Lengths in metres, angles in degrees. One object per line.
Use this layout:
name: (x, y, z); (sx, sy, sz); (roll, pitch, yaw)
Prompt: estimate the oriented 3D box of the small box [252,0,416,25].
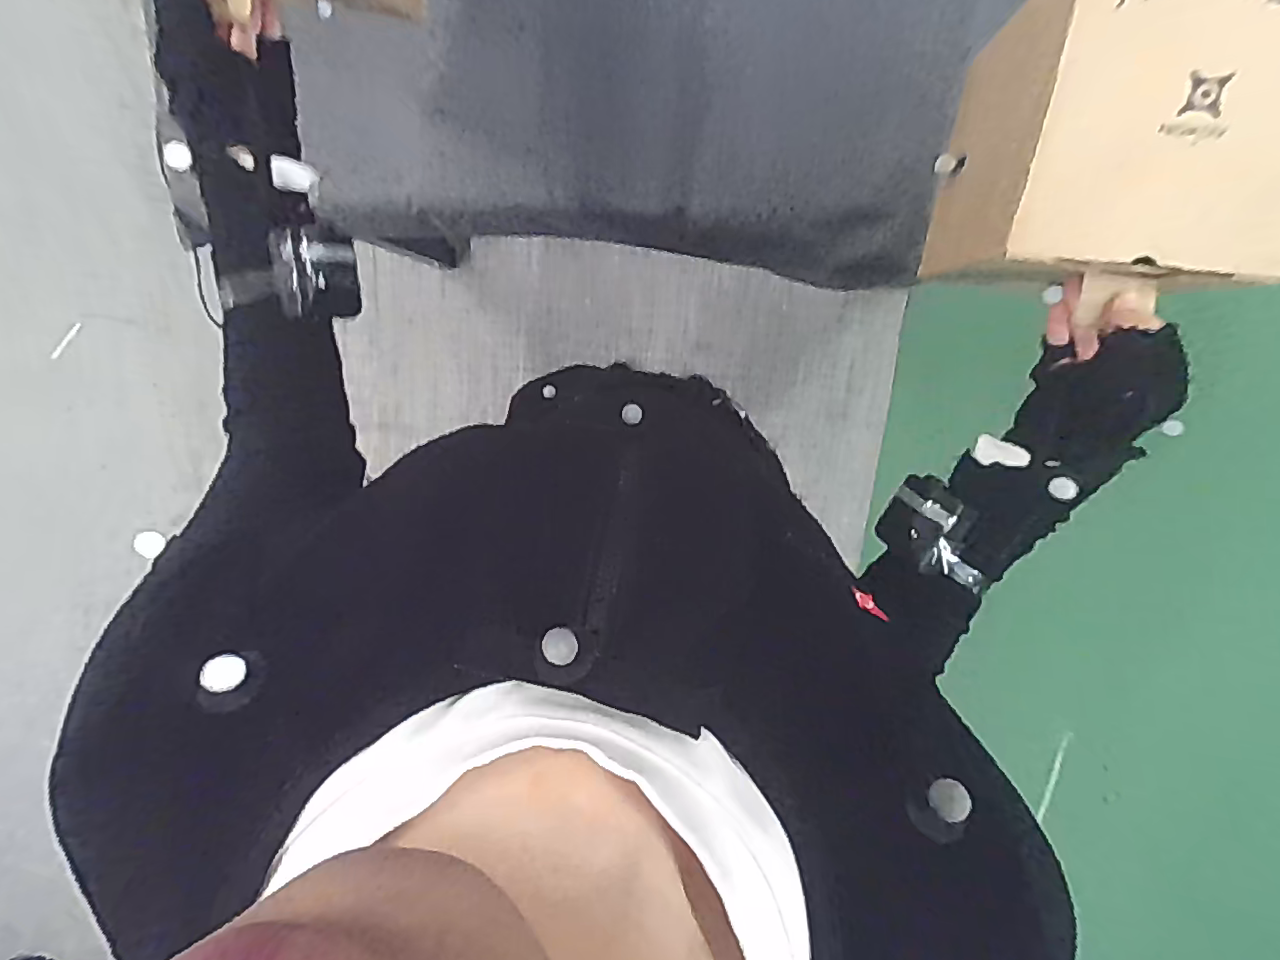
small box: (-0.271, -0.449, 0.375); (0.168, 0.176, 0.179); (8, 120, -1)
